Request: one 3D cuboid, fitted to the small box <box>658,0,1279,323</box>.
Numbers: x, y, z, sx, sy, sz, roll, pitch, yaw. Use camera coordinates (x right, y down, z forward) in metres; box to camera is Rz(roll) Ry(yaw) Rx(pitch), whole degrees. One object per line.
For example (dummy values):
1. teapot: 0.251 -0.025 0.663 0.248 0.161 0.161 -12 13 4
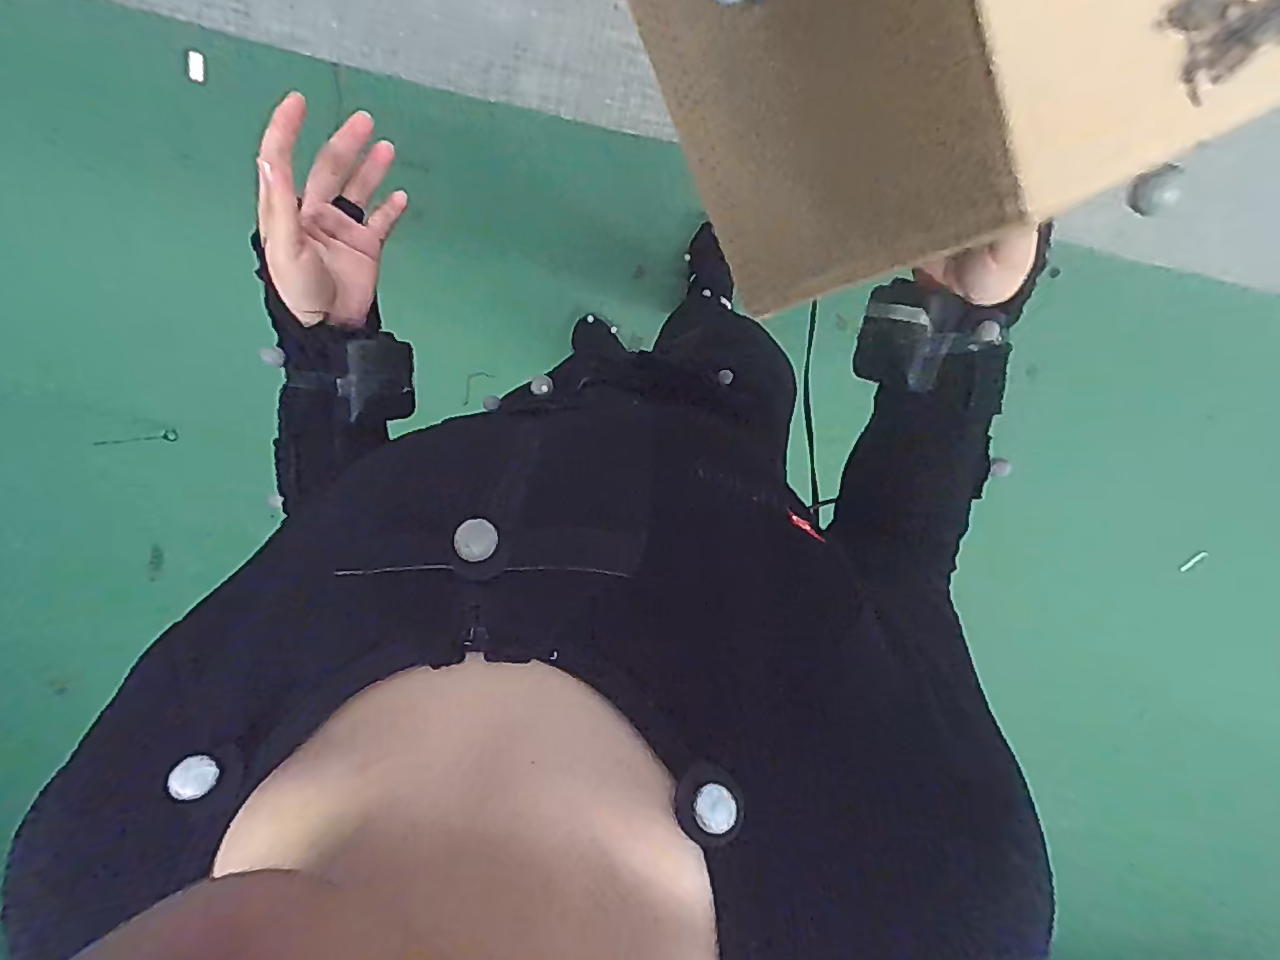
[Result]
1. small box: 0.123 -0.181 0.203 0.168 0.176 0.179 -27 102 -5
